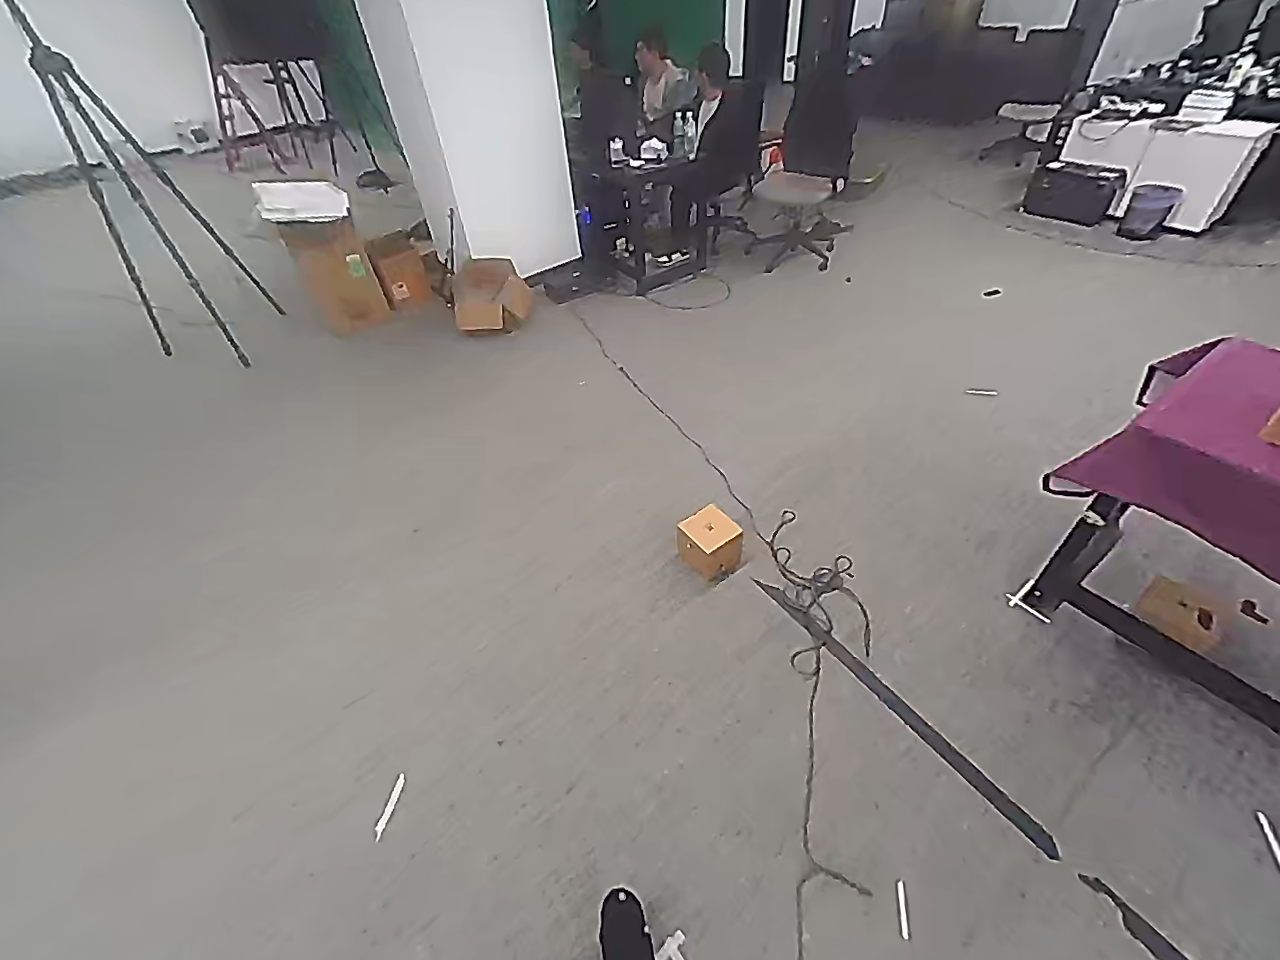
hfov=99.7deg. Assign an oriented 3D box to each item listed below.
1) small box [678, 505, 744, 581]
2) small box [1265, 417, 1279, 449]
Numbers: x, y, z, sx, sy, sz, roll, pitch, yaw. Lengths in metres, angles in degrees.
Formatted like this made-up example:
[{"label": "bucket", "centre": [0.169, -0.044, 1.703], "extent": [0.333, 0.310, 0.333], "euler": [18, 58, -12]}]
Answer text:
[{"label": "small box", "centre": [0.253, 0.231, 1.958], "extent": [0.168, 0.176, 0.179], "euler": [-29, 48, -21]}, {"label": "small box", "centre": [1.521, -0.139, 1.159], "extent": [0.179, 0.176, 0.168], "euler": [-30, 48, -24]}]
